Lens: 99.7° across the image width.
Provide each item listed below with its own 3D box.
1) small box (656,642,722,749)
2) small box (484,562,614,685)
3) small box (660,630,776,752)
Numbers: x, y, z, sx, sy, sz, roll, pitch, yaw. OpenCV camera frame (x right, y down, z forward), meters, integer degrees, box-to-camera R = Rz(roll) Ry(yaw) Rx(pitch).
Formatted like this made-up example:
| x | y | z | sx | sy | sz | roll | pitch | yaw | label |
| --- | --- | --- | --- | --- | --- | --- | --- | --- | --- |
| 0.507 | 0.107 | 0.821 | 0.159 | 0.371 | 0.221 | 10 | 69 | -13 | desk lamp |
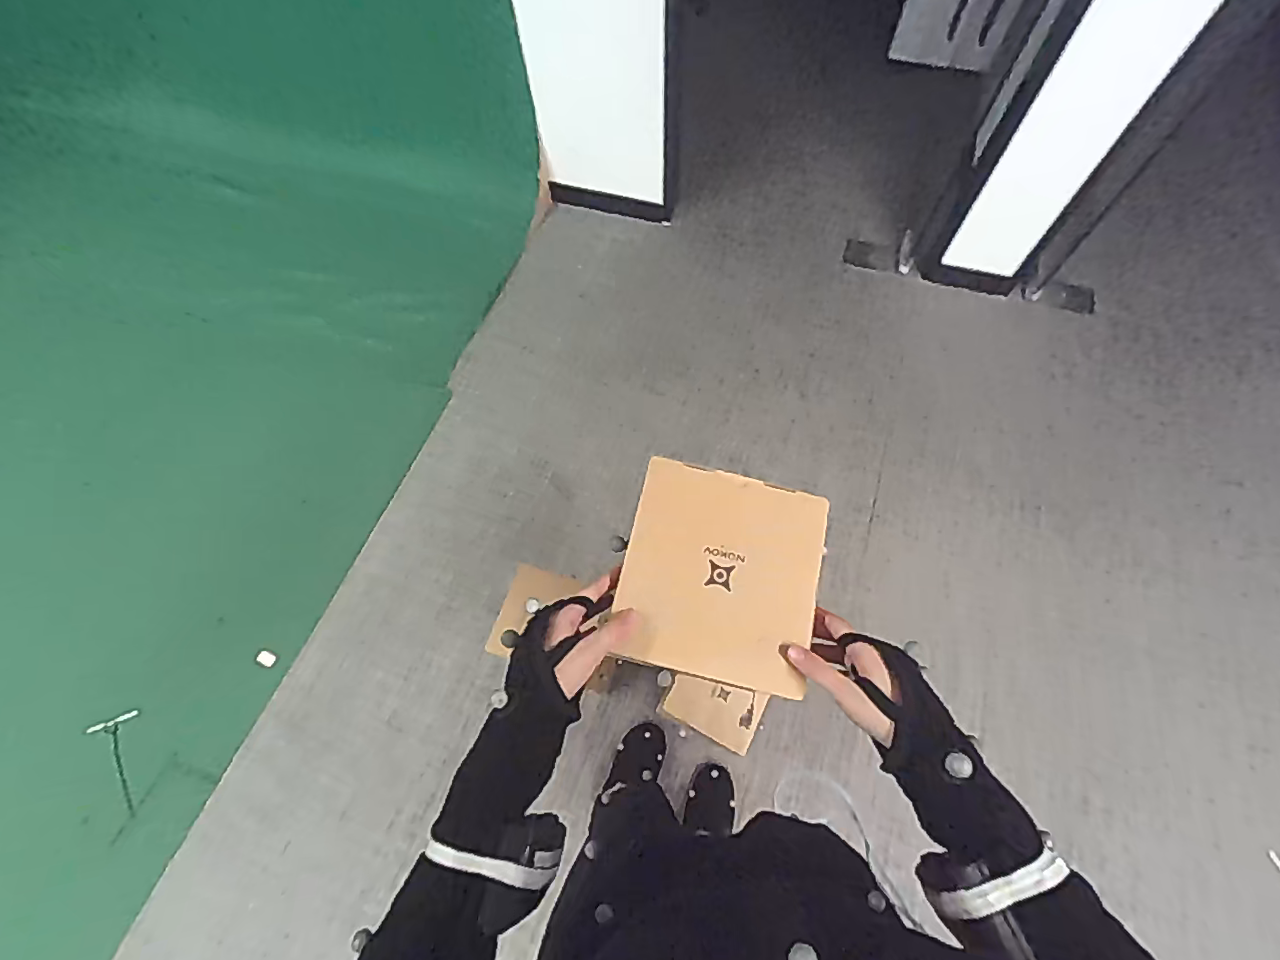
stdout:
| x | y | z | sx | sy | sz | roll | pitch | yaw | label |
| --- | --- | --- | --- | --- | --- | --- | --- | --- | --- |
| 0.147 | 0.500 | 1.262 | 0.168 | 0.176 | 0.179 | 26 | 69 | 14 | small box |
| -0.157 | 0.275 | 1.016 | 0.179 | 0.176 | 0.168 | 16 | 66 | 11 | small box |
| 0.155 | 0.437 | 1.109 | 0.179 | 0.176 | 0.168 | 26 | 69 | 15 | small box |
